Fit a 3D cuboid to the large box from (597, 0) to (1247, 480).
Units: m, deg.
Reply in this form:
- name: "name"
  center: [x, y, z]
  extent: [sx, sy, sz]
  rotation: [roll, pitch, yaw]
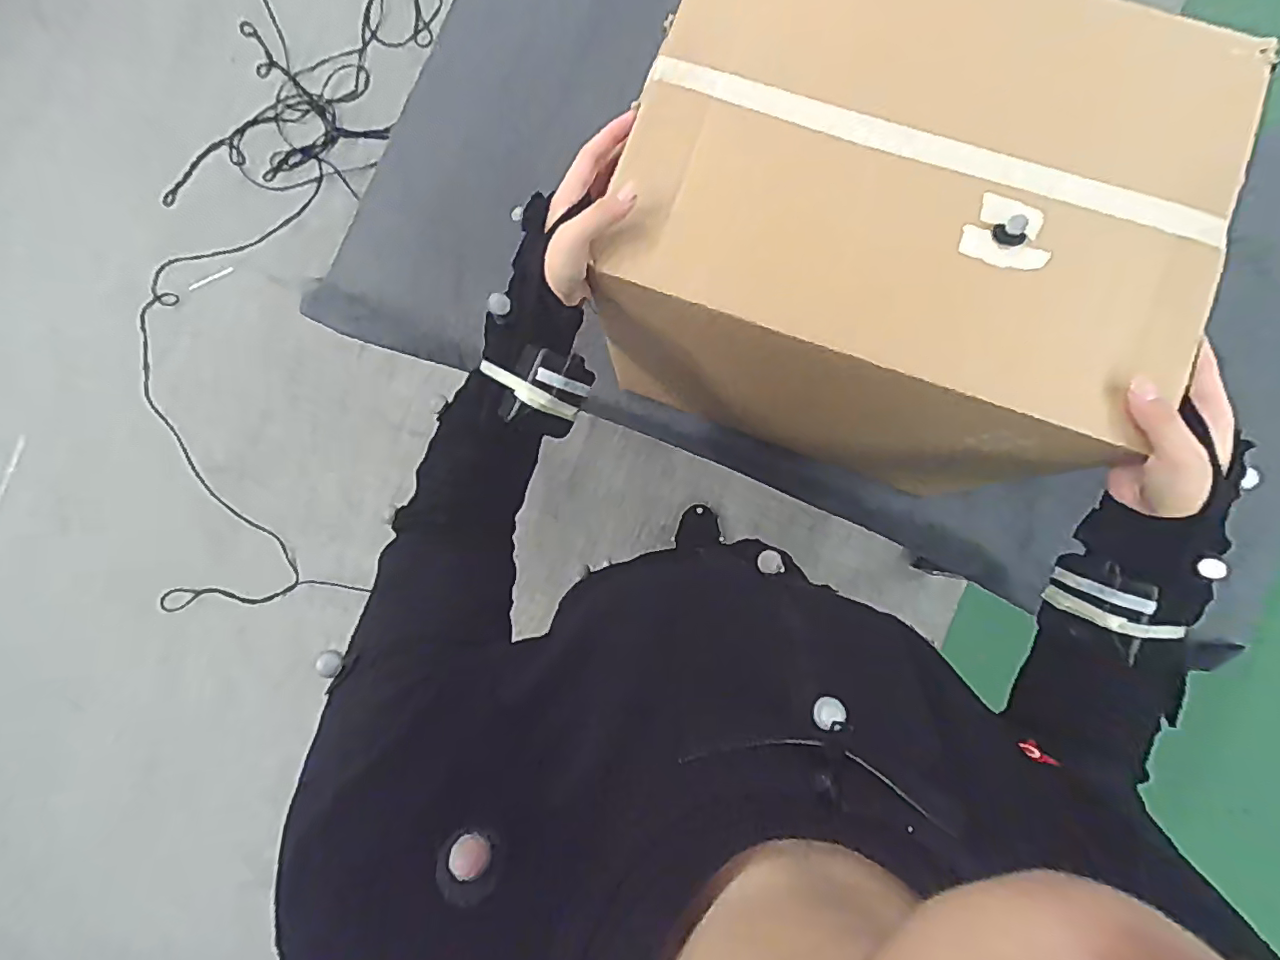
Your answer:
- name: "large box"
  center: [0.204, -0.220, 0.533]
  extent: [0.408, 0.320, 0.320]
  rotation: [20, 85, 3]
